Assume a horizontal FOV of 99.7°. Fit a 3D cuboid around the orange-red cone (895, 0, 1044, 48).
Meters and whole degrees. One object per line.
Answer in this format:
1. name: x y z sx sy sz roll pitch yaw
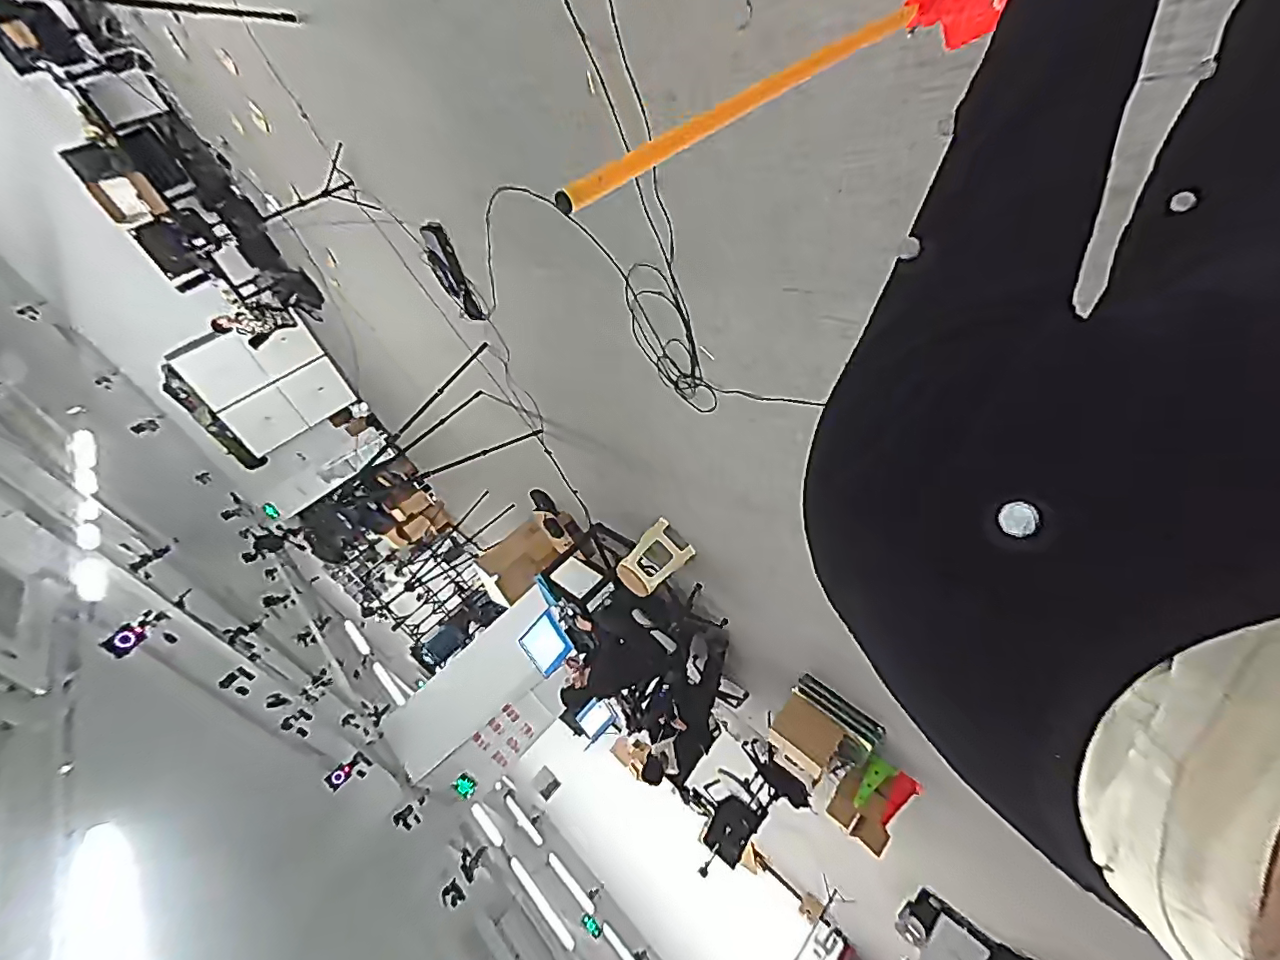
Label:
1. orange-red cone: 0.586 -0.920 1.023 0.199 0.360 0.198 13 137 54
